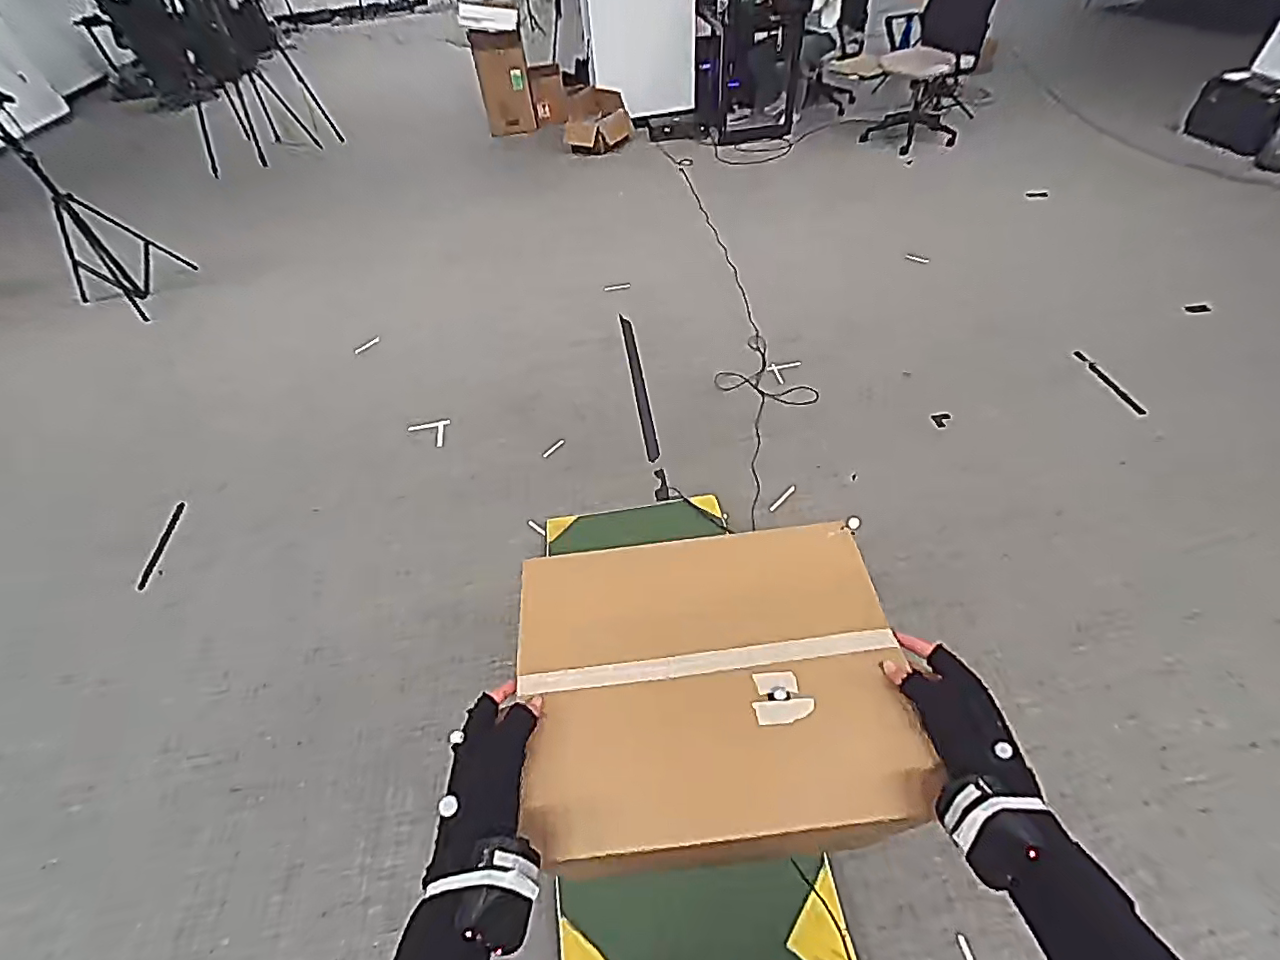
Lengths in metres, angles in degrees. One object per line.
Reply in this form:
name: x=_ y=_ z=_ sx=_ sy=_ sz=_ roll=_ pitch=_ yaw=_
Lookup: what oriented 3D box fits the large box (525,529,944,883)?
large box: x=0.081 y=0.299 z=0.706 sx=0.408 sy=0.320 sz=0.320 roll=-7 pitch=51 yaw=-1
